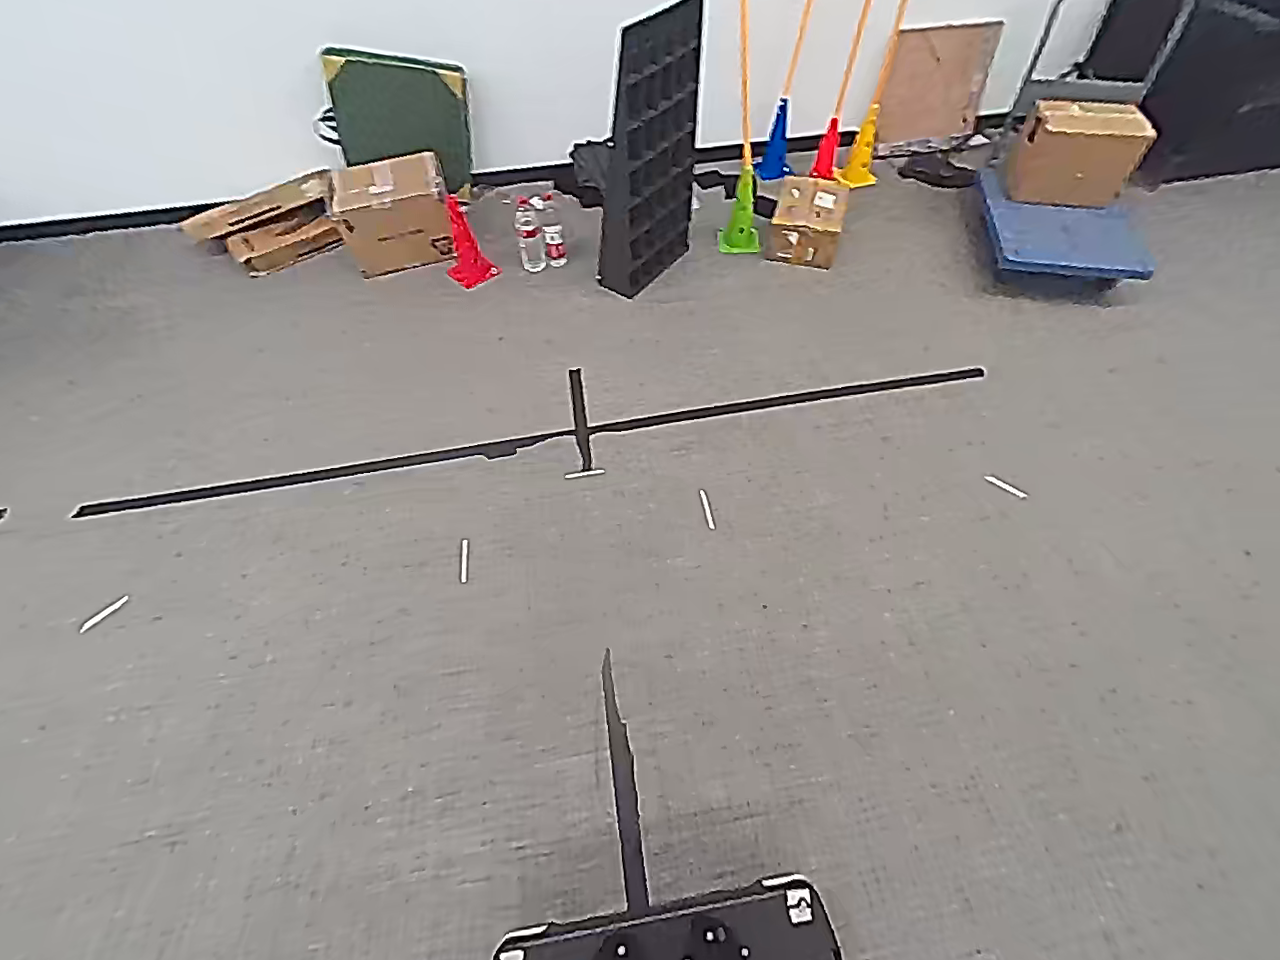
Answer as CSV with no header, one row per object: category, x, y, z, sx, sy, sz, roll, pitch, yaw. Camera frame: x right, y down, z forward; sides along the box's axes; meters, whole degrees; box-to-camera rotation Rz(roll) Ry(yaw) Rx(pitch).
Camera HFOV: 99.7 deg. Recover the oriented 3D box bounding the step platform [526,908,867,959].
step platform,0.110,1.029,1.030,0.684,0.204,0.286,-5,53,-2
